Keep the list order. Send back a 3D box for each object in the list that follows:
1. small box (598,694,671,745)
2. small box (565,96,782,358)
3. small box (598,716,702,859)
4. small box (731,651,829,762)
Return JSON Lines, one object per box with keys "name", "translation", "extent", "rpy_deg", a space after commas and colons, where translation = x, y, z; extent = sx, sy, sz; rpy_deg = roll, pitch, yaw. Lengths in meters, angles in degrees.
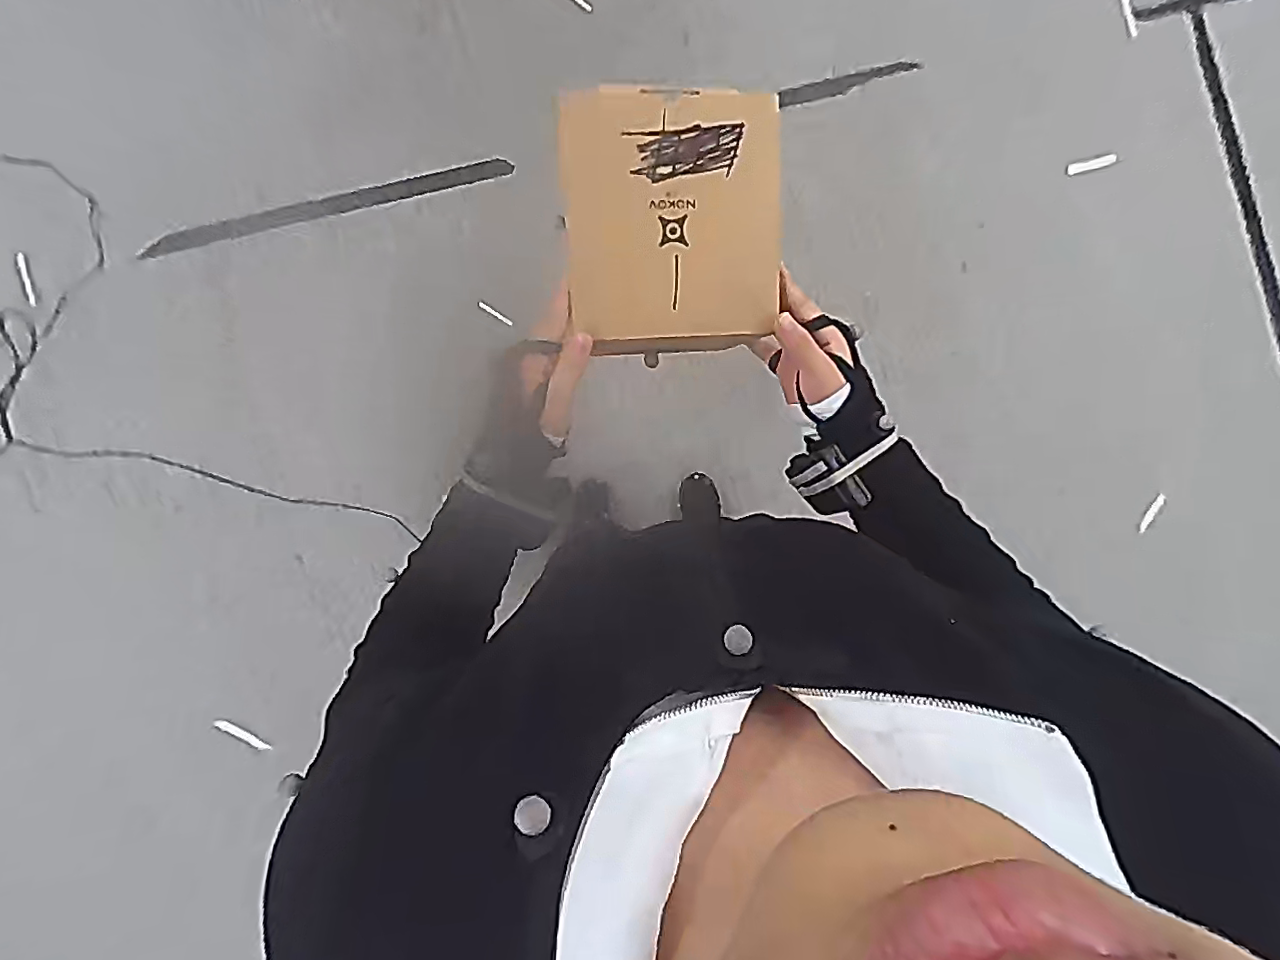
{"name": "small box", "translation": [-0.001, 0.642, 1.312], "extent": [0.168, 0.176, 0.179], "rpy_deg": [-18, 91, -3]}
{"name": "small box", "translation": [0.019, -0.209, 0.490], "extent": [0.168, 0.176, 0.179], "rpy_deg": [-4, 99, -6]}
{"name": "small box", "translation": [0.017, 0.641, 1.149], "extent": [0.168, 0.176, 0.179], "rpy_deg": [-21, 91, -3]}
{"name": "small box", "translation": [0.335, 0.545, 1.323], "extent": [0.168, 0.176, 0.179], "rpy_deg": [-16, 91, -2]}
